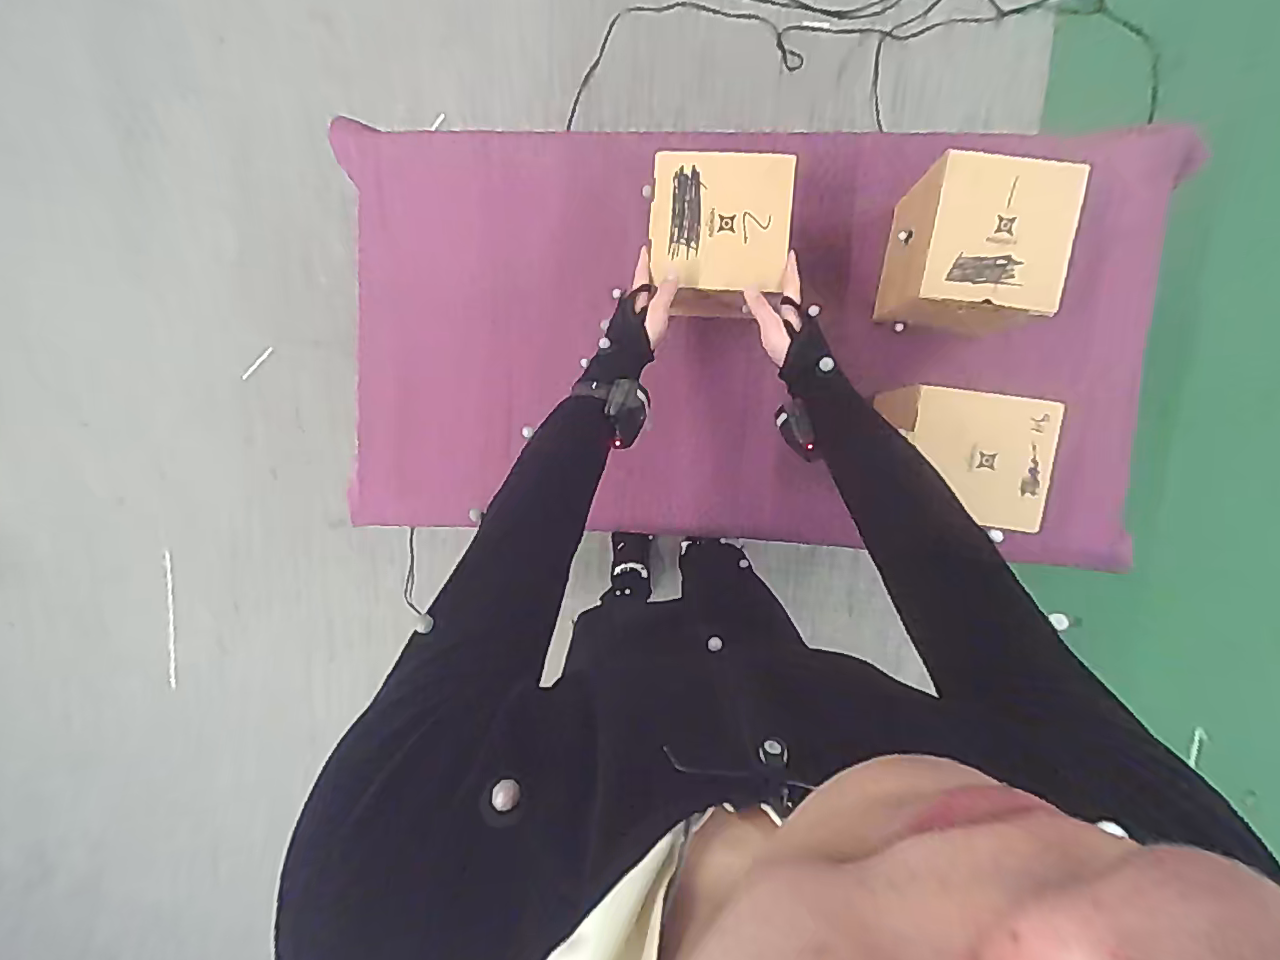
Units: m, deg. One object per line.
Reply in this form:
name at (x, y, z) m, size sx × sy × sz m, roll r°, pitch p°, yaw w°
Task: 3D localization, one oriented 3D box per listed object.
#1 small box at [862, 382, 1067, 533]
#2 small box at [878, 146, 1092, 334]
small box at (0.426, -0.033, 0.745) m, size 0.179 × 0.176 × 0.168 m, roll 9°, pitch 95°, yaw 5°
small box at (0.438, -0.303, 0.720) m, size 0.168 × 0.176 × 0.179 m, roll 10°, pitch 96°, yaw 4°
